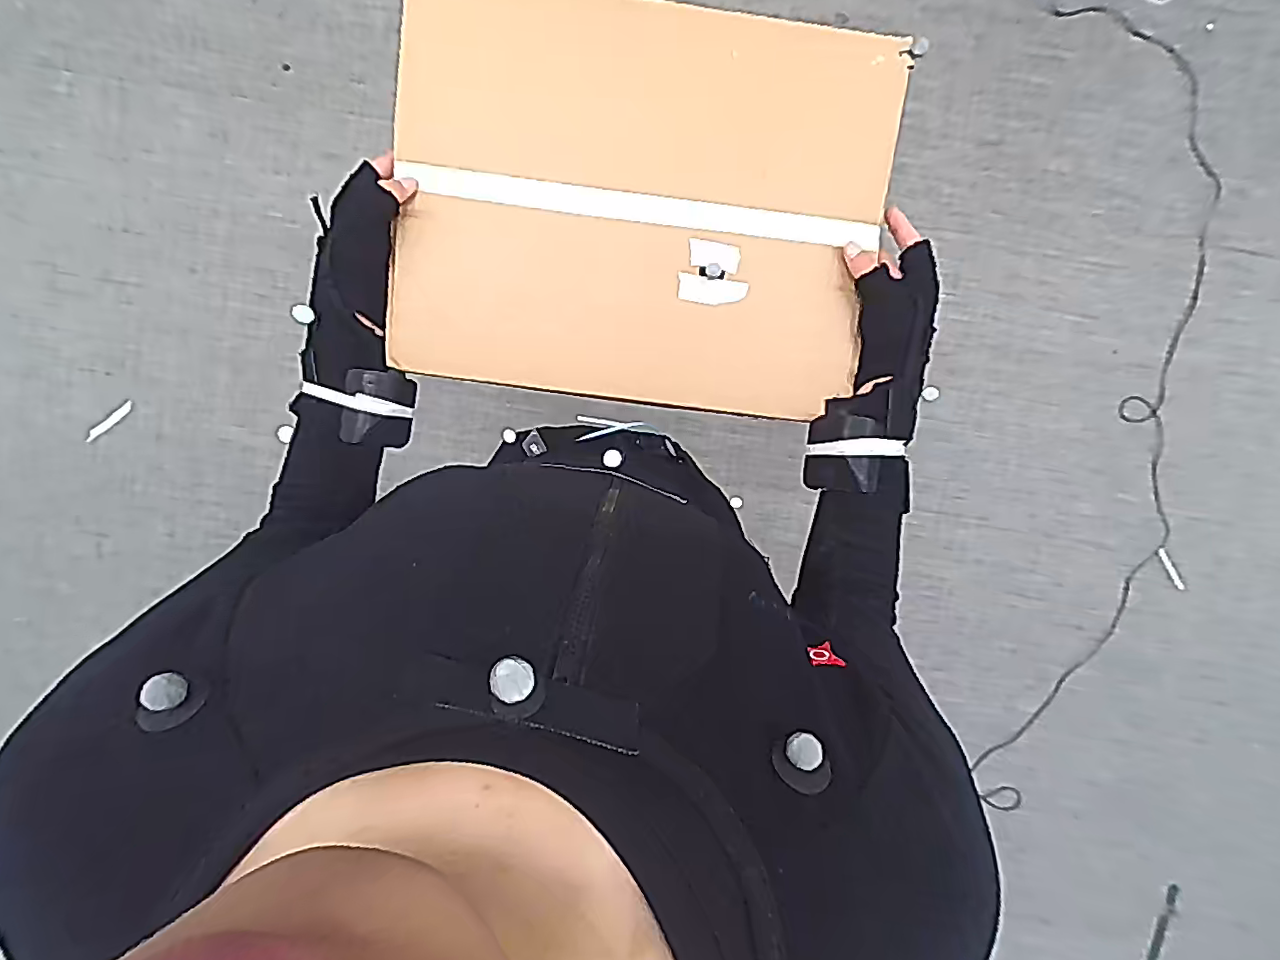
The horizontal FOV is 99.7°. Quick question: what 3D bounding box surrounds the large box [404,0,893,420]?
[{"bbox_3d":[-0.004,-0.245,0.613,0.408,0.320,0.320,7,99,-3],"label":"large box"}]
